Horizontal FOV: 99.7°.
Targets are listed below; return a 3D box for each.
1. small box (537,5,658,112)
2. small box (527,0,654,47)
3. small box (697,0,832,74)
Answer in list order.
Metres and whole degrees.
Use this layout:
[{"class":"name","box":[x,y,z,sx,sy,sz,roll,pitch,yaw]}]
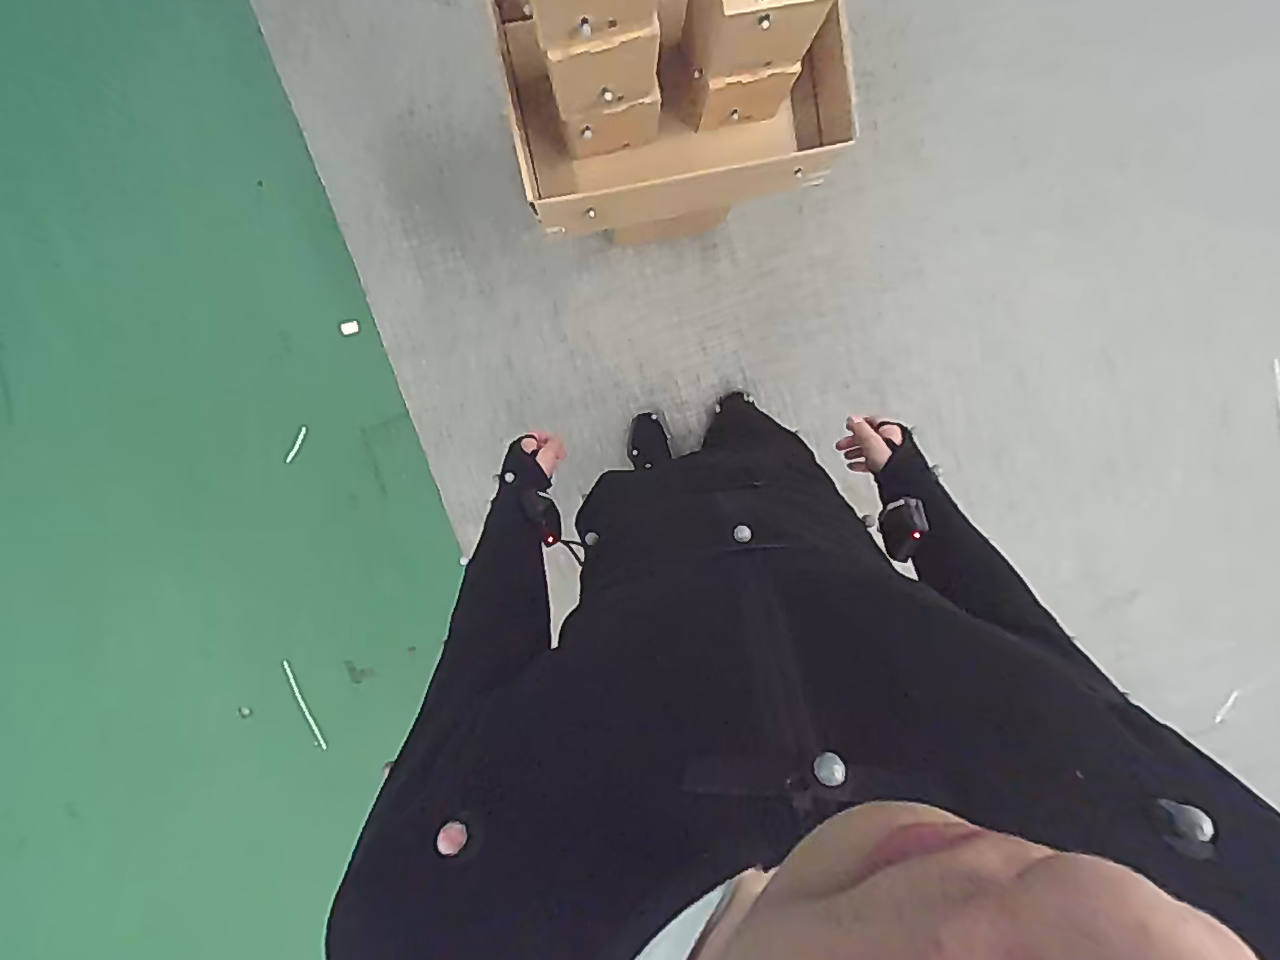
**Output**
[{"class":"small box","box":[-0.076,-0.708,0.821,0.168,0.176,0.179,-14,101,0]},{"class":"small box","box":[-0.076,-0.687,0.659,0.168,0.176,0.179,-13,100,0]},{"class":"small box","box":[0.180,-0.770,0.825,0.168,0.176,0.179,-10,101,-1]}]
